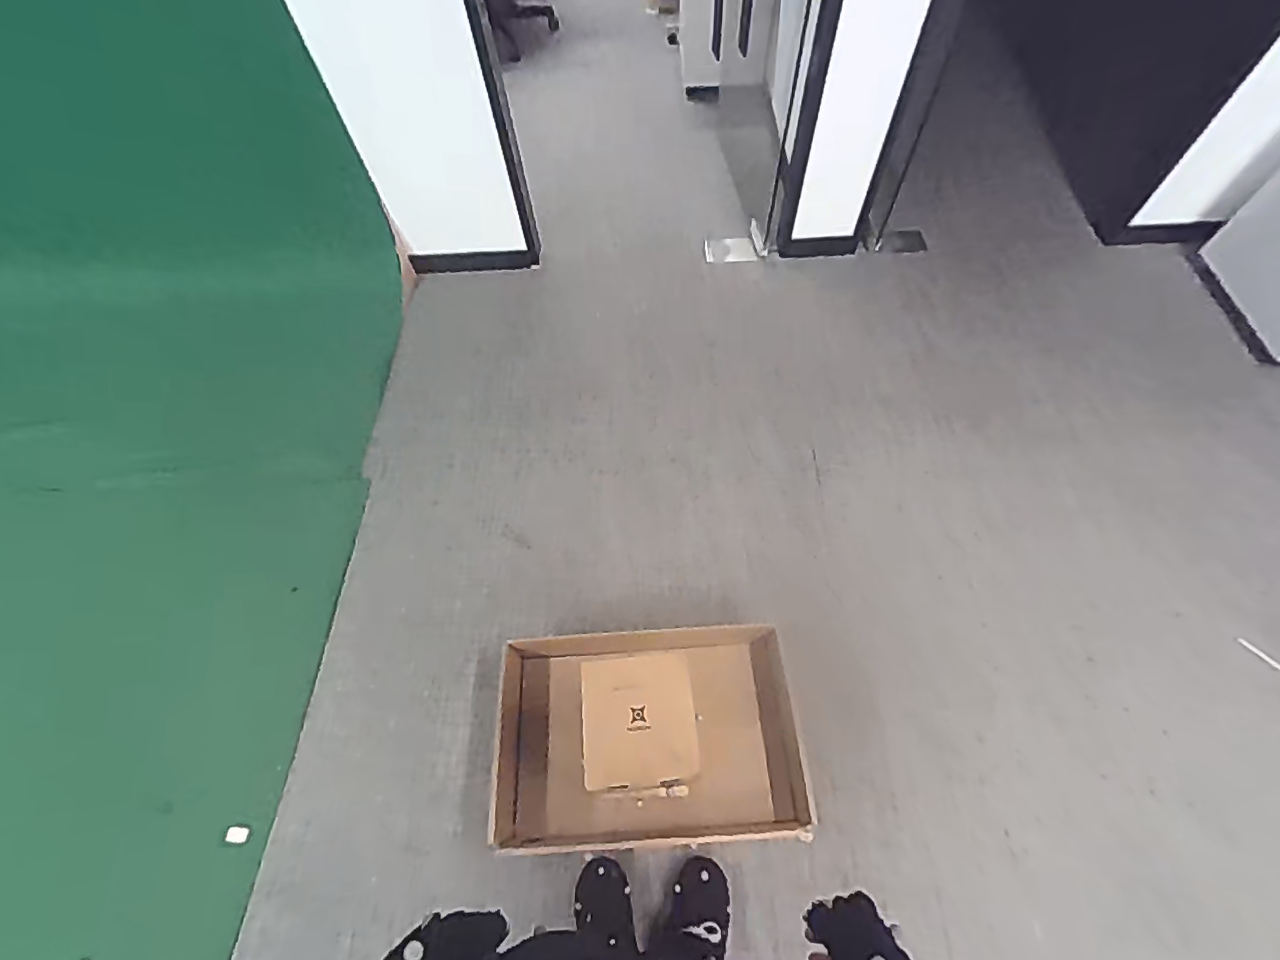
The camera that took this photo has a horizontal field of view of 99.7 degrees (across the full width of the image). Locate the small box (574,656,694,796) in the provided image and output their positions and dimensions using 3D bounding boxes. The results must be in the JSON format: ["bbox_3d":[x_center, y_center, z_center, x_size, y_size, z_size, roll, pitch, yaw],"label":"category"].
[{"bbox_3d":[-0.010,0.393,0.855,0.168,0.176,0.179,-5,57,-2],"label":"small box"}]

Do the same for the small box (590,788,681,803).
[{"bbox_3d":[-0.007,0.583,1.138,0.179,0.176,0.168,-3,58,2],"label":"small box"}]
